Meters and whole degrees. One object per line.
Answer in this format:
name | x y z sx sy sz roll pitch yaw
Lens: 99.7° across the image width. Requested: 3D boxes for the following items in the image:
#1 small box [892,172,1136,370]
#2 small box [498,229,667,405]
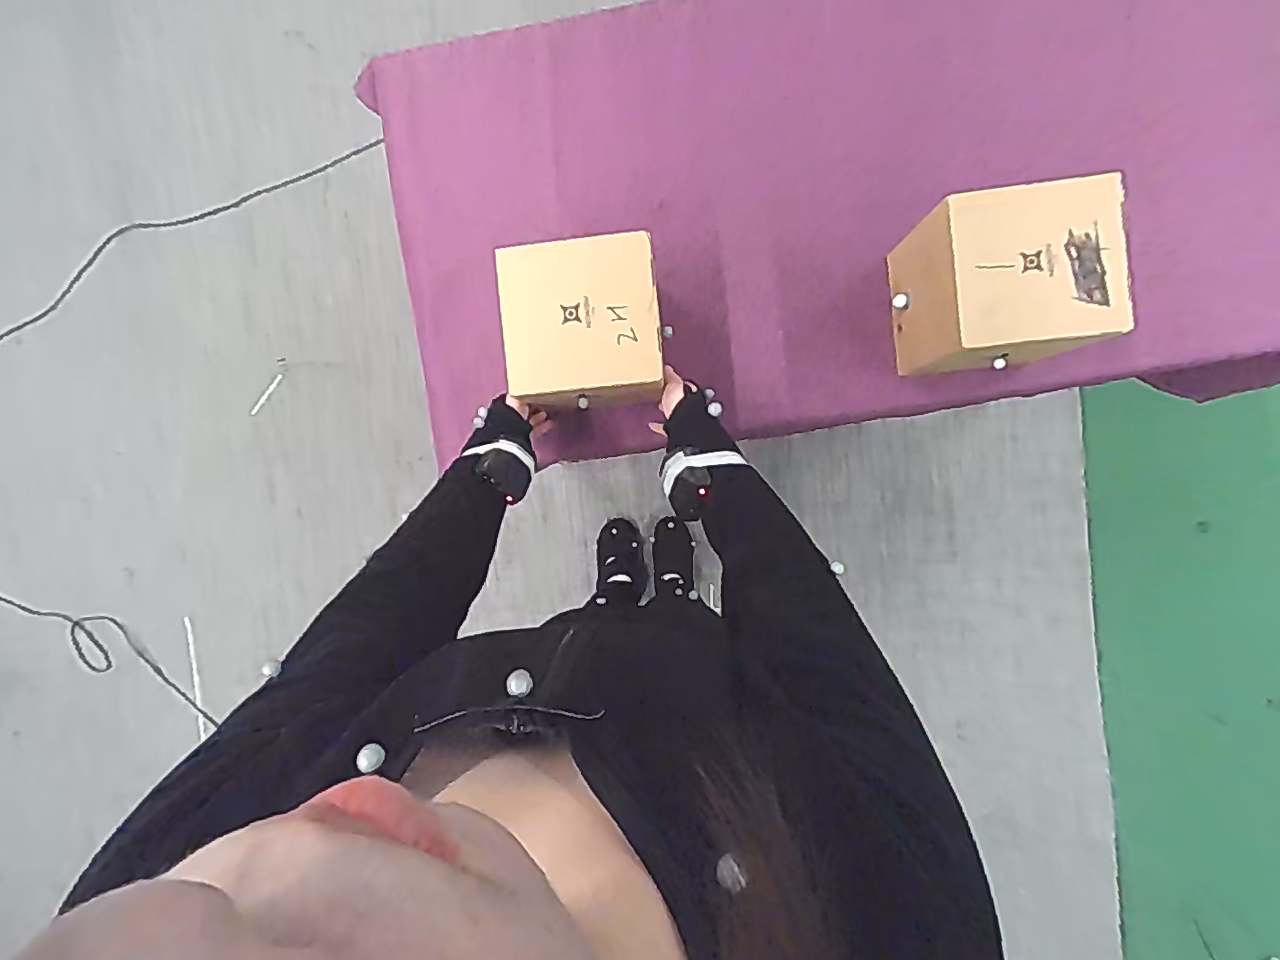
small box | 0.423 -0.230 0.638 0.179 0.176 0.168 -5 91 5
small box | -0.060 -0.187 0.671 0.179 0.176 0.168 -4 92 4
